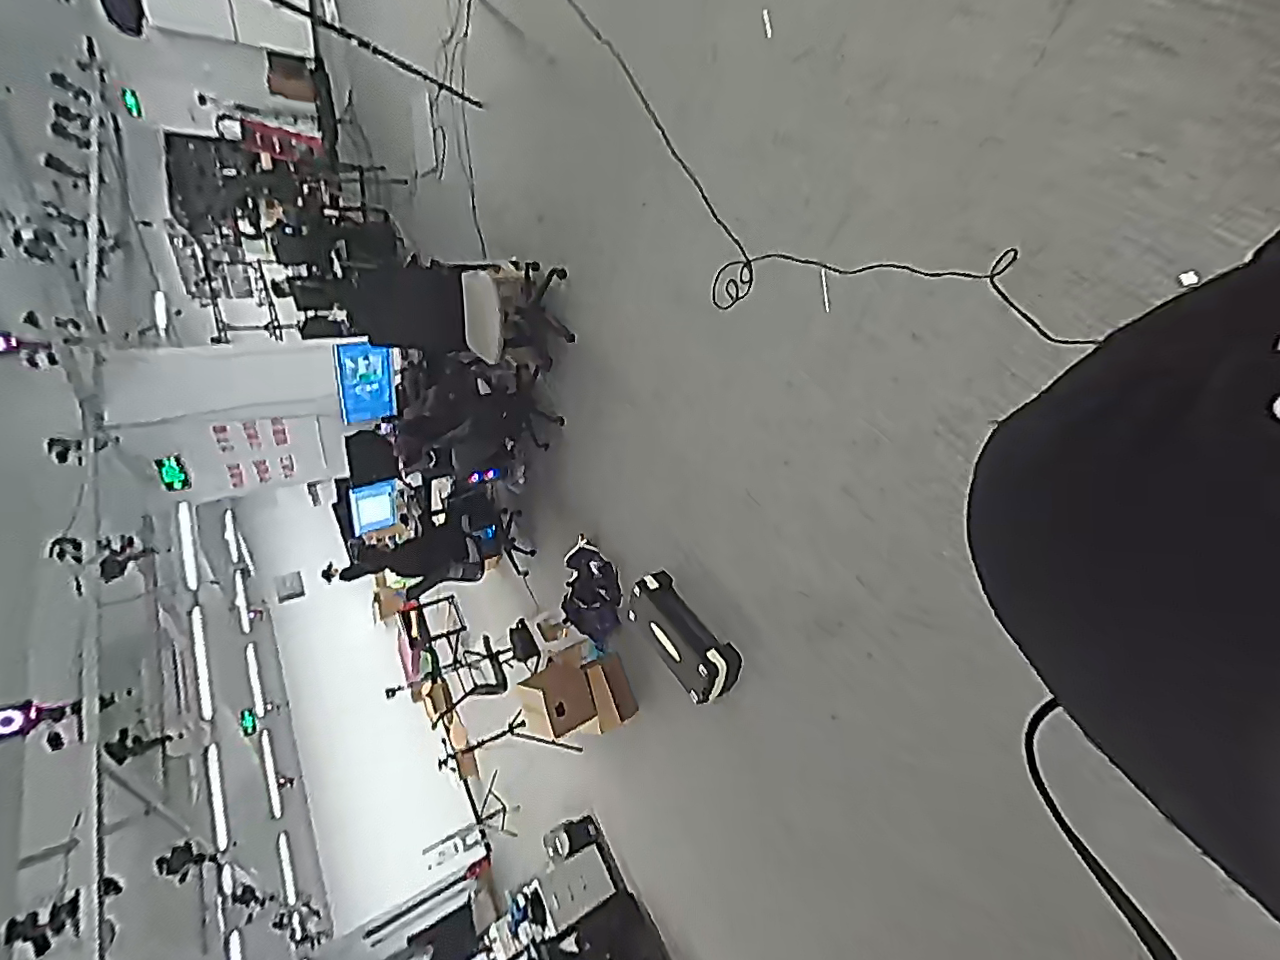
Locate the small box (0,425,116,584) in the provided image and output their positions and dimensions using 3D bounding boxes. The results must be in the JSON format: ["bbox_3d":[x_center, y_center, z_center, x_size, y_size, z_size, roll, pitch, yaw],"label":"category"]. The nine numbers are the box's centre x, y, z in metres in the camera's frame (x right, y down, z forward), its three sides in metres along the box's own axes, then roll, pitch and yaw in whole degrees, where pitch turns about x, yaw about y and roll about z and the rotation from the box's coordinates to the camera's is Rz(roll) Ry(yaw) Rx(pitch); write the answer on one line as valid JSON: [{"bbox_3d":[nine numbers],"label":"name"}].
[{"bbox_3d":[-0.911,0.029,0.805,0.168,0.176,0.179,-8,138,-38],"label":"small box"}]
